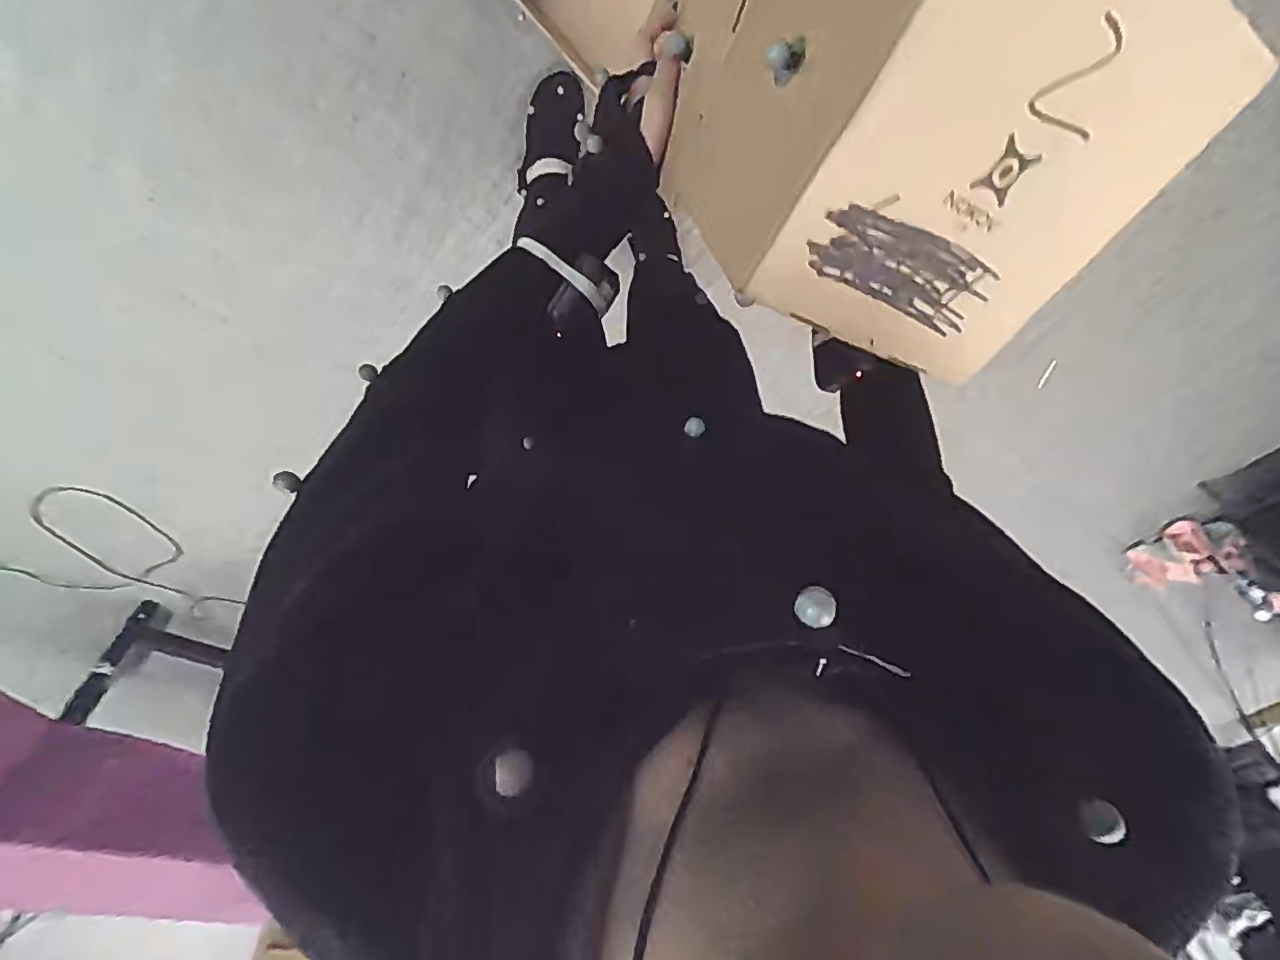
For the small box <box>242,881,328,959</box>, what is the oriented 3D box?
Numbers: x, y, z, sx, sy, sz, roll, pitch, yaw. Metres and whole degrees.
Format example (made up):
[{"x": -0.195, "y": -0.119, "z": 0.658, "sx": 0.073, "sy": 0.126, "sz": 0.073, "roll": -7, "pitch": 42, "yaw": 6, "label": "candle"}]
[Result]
[{"x": -1.141, "y": 1.423, "z": 1.749, "sx": 0.168, "sy": 0.176, "sz": 0.179, "roll": 27, "pitch": 123, "yaw": -25, "label": "small box"}]

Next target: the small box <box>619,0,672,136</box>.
[{"x": 0.087, "y": -0.416, "z": 0.526, "sx": 0.168, "sy": 0.176, "sz": 0.179, "roll": 13, "pitch": 133, "yaw": -22, "label": "small box"}]

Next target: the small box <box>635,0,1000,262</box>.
[{"x": 0.105, "y": -0.299, "z": 0.411, "sx": 0.179, "sy": 0.176, "sz": 0.168, "roll": 8, "pitch": 134, "yaw": -19, "label": "small box"}]

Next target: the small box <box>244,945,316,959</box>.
[{"x": -1.109, "y": 1.514, "z": 1.614, "sx": 0.179, "sy": 0.176, "sz": 0.168, "roll": 27, "pitch": 122, "yaw": -26, "label": "small box"}]
